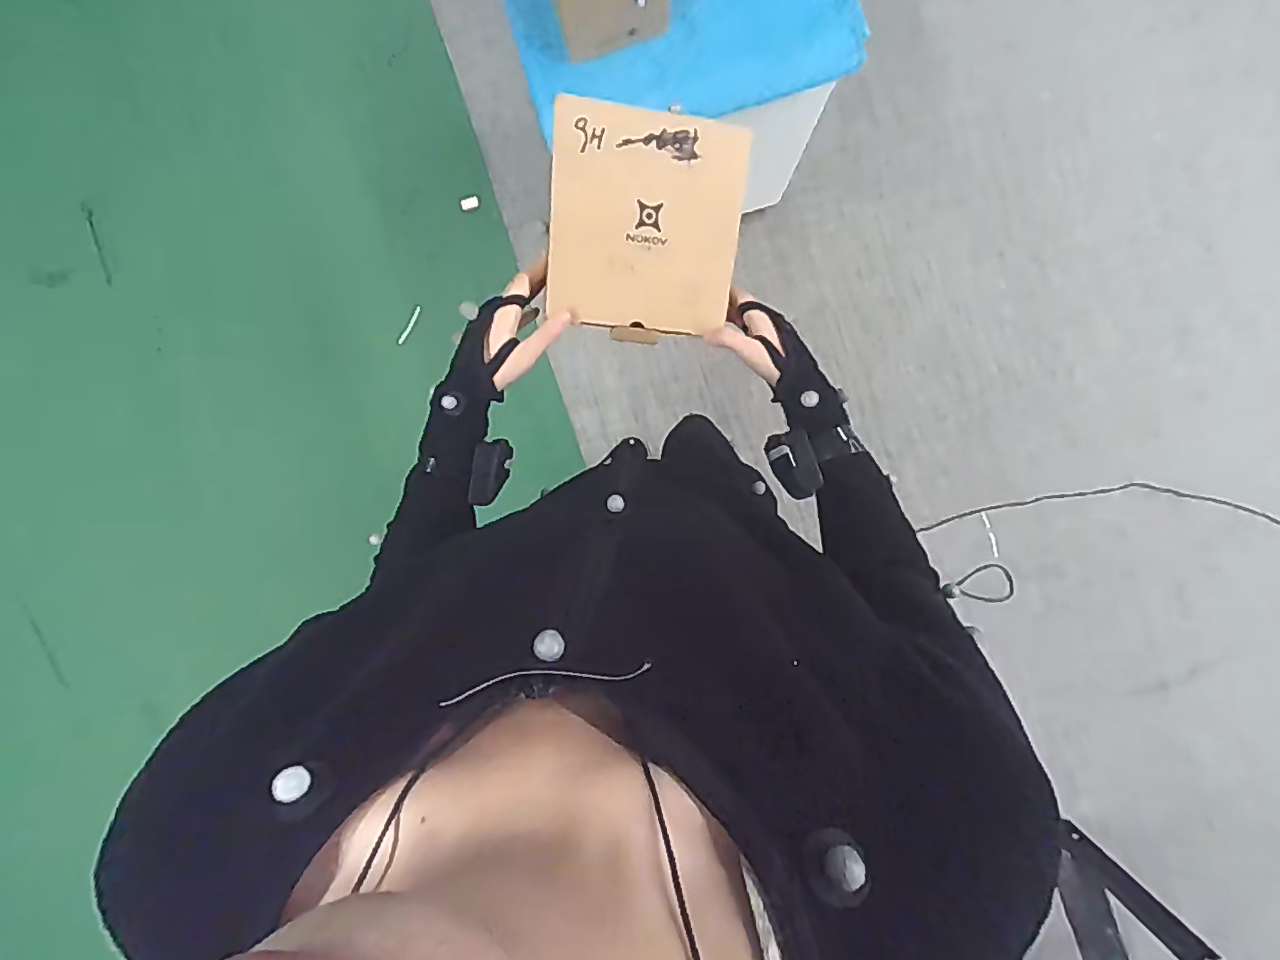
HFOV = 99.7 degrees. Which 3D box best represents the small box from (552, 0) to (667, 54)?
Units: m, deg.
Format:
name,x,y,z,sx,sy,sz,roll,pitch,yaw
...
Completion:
name,x,y,z,sx,sy,sz,roll,pitch,yaw
small box,-0.057,-0.768,0.784,0.168,0.176,0.179,-16,92,1
